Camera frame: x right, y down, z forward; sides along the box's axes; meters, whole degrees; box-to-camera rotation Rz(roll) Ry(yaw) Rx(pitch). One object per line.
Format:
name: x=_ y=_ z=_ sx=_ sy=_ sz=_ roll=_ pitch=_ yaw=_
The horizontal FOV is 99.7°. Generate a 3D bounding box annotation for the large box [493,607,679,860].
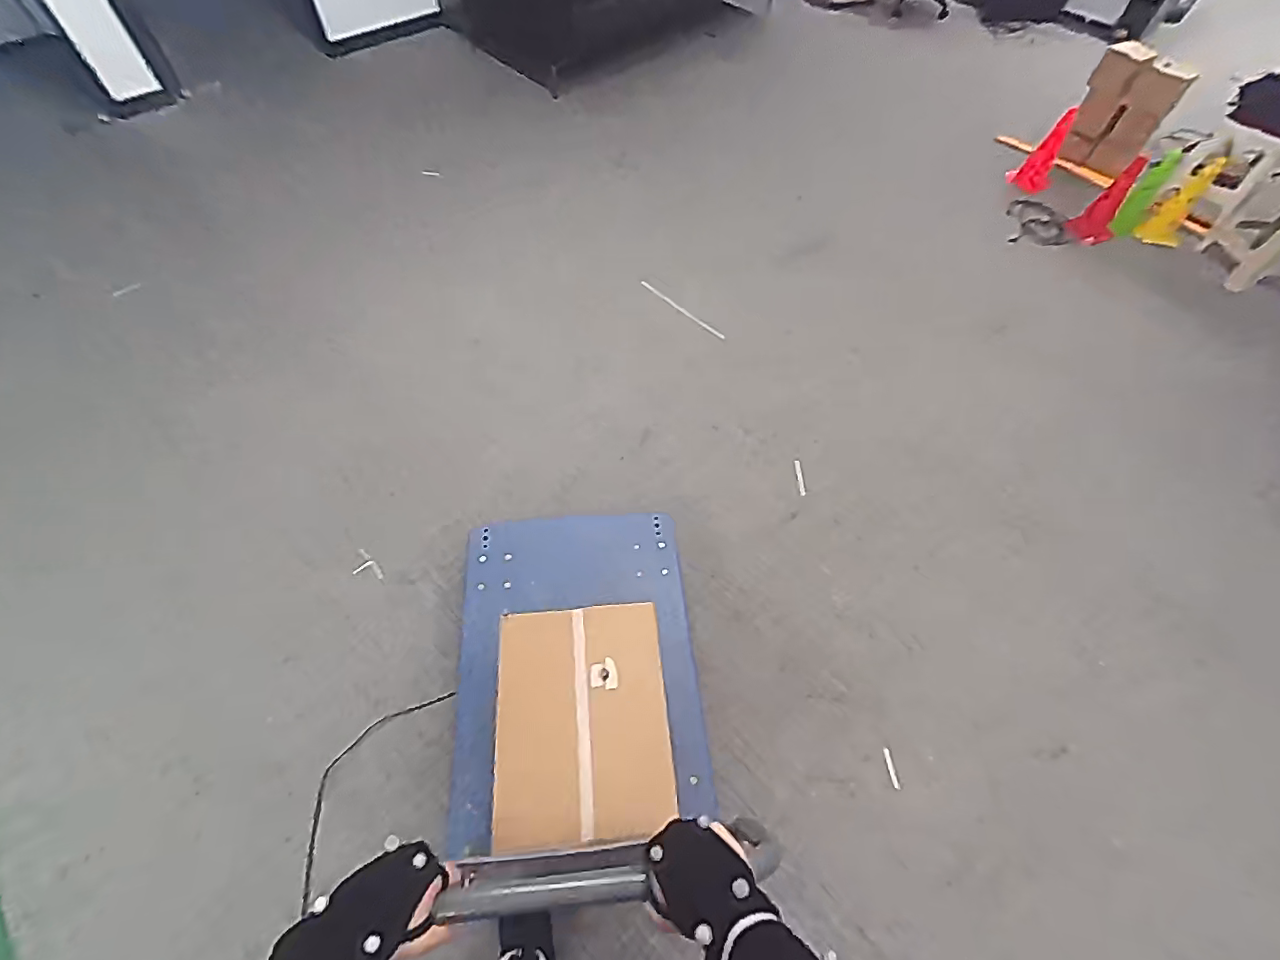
large box: x=-0.112 y=0.520 z=1.118 sx=0.320 sy=0.320 sz=0.408 roll=-4 pitch=56 yaw=-5
